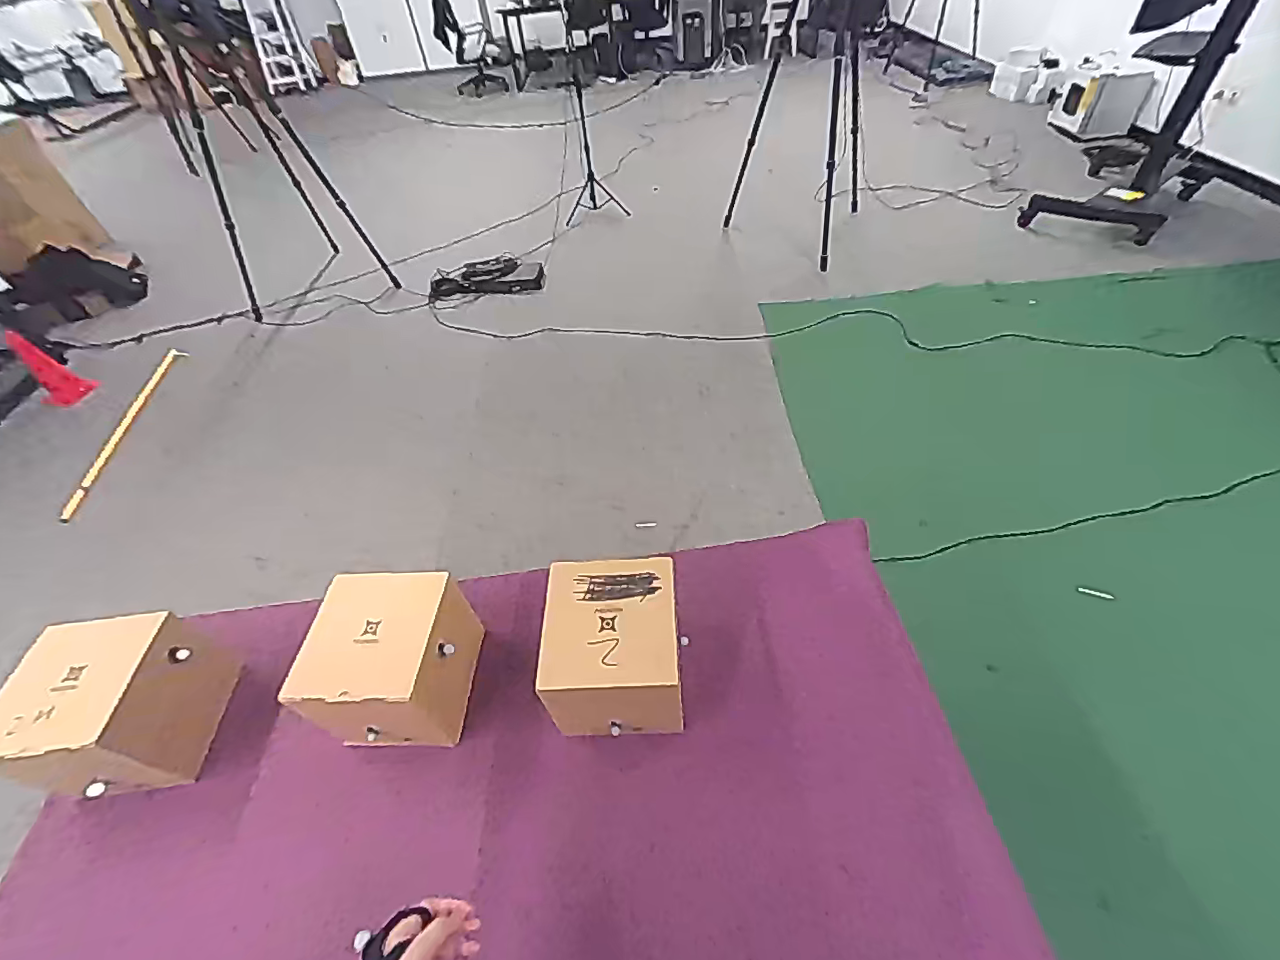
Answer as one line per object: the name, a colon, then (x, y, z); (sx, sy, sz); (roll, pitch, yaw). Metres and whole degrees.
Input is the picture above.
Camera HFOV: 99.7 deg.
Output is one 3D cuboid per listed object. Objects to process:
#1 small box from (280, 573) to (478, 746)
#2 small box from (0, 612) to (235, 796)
small box: (-0.338, 0.248, 0.748); (0.168, 0.176, 0.179); (-2, 48, 5)
small box: (-0.702, 0.304, 0.733); (0.168, 0.176, 0.179); (-7, 47, 0)
